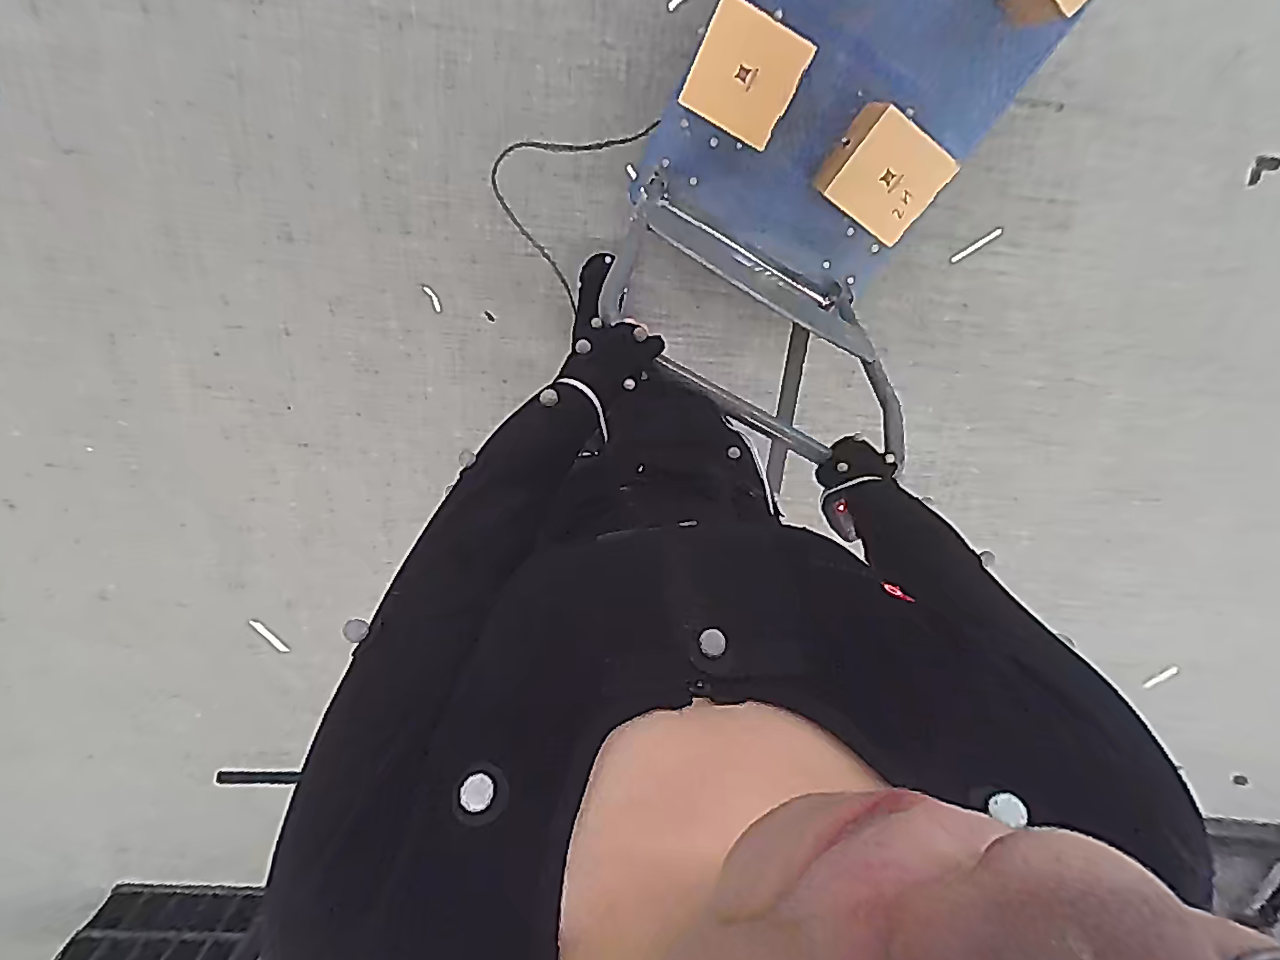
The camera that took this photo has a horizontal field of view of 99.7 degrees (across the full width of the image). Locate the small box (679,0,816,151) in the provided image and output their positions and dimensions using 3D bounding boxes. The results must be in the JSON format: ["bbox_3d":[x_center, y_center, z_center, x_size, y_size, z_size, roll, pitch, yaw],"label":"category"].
[{"bbox_3d":[0.183,-0.725,0.974,0.179,0.176,0.168,23,125,-12],"label":"small box"}]

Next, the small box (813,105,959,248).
[{"bbox_3d":[0.459,-0.585,1.043,0.179,0.176,0.168,30,124,-15],"label":"small box"}]

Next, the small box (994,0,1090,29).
[{"bbox_3d":[0.658,-0.848,0.832,0.168,0.176,0.179,36,123,-18],"label":"small box"}]
